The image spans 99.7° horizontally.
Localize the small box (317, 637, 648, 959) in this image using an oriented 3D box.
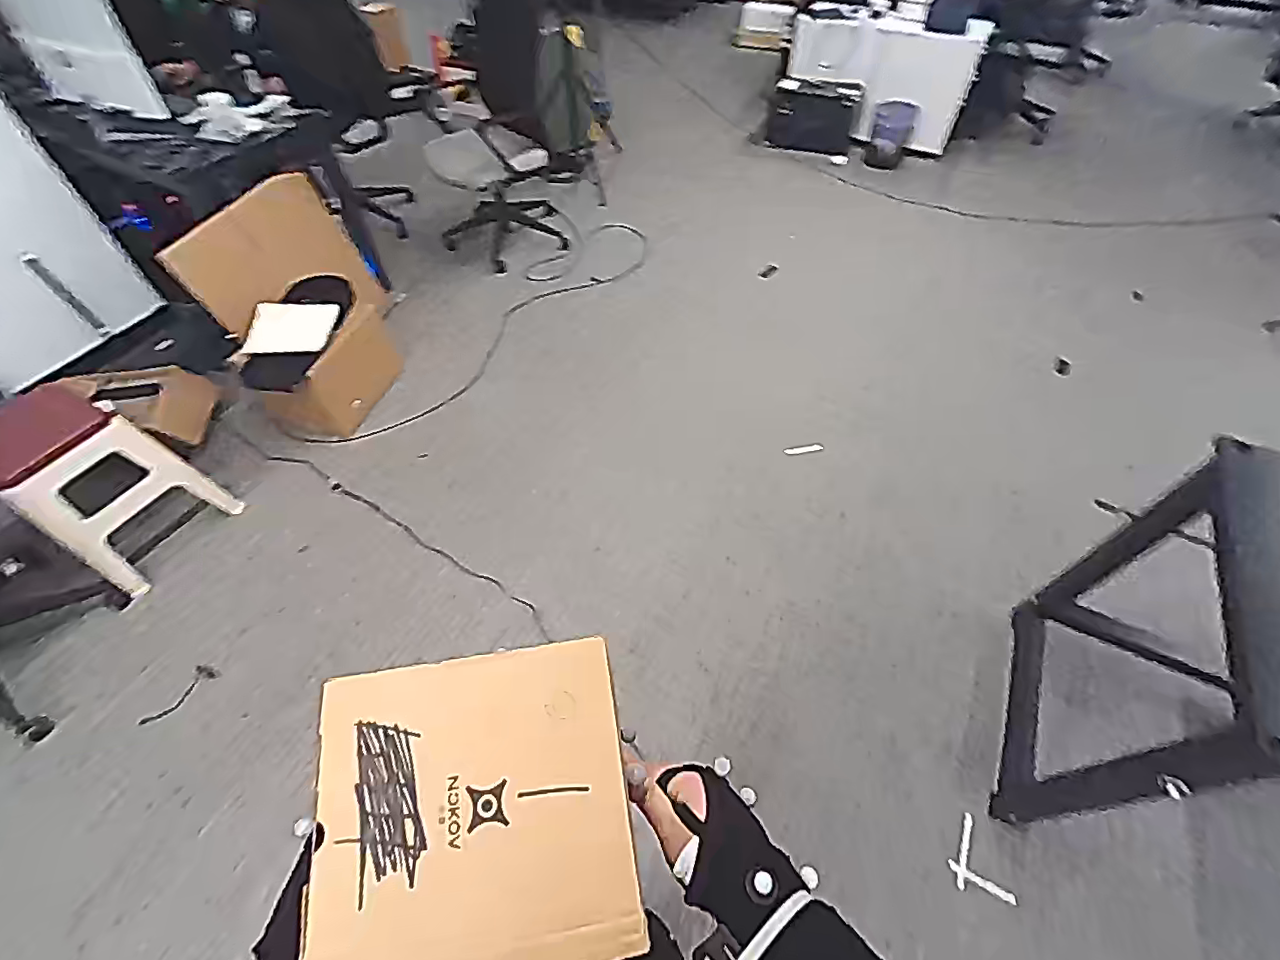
[{"bbox_3d":[-0.094,0.222,0.387,0.179,0.176,0.168,-7,65,-6],"label":"small box"}]
